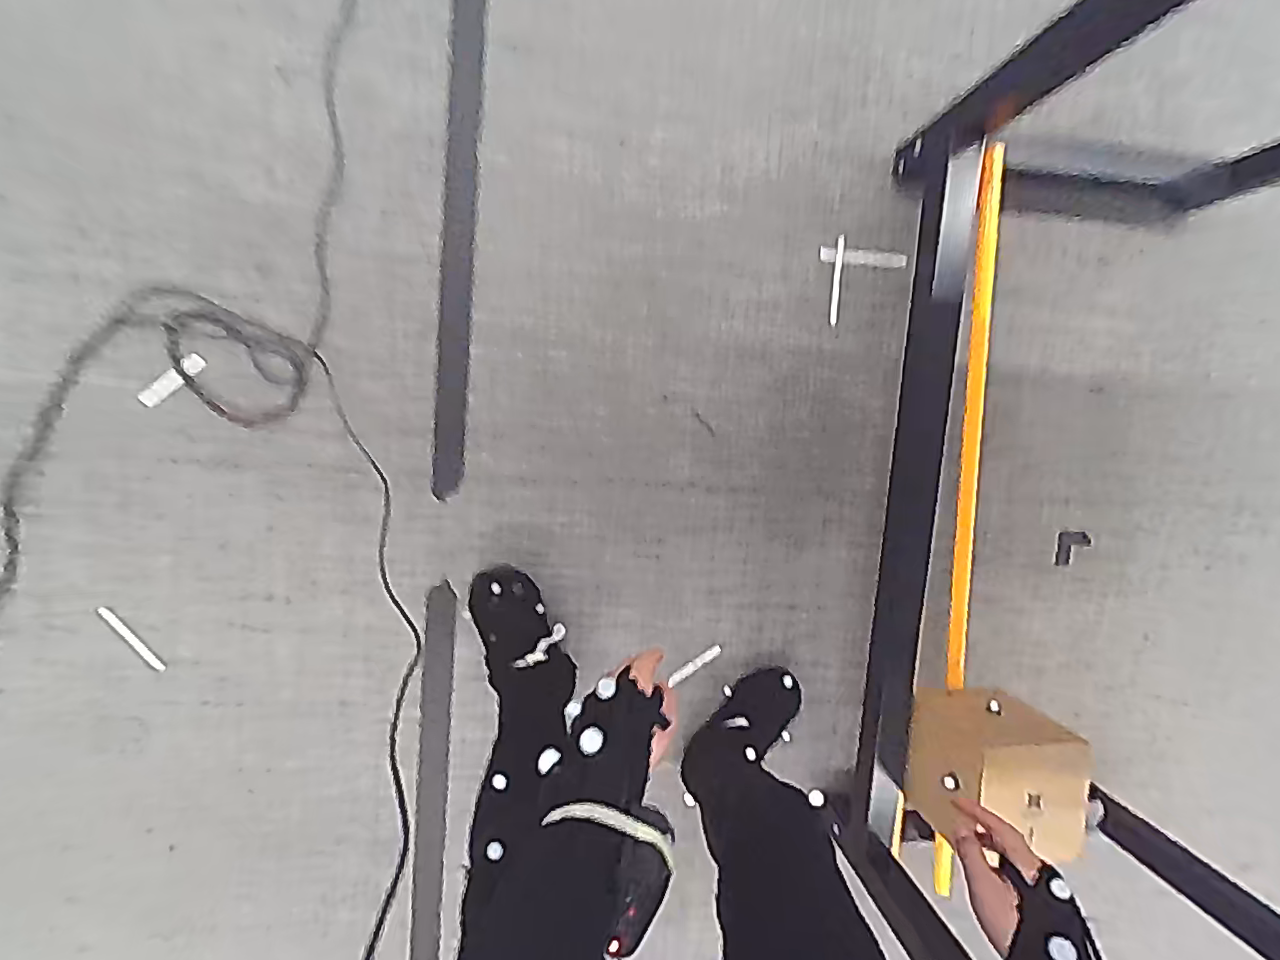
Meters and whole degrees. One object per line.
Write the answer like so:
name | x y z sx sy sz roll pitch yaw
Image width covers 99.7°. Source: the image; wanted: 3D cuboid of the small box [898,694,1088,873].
small box | 0.512 0.437 0.807 0.168 0.176 0.179 2 95 -7
